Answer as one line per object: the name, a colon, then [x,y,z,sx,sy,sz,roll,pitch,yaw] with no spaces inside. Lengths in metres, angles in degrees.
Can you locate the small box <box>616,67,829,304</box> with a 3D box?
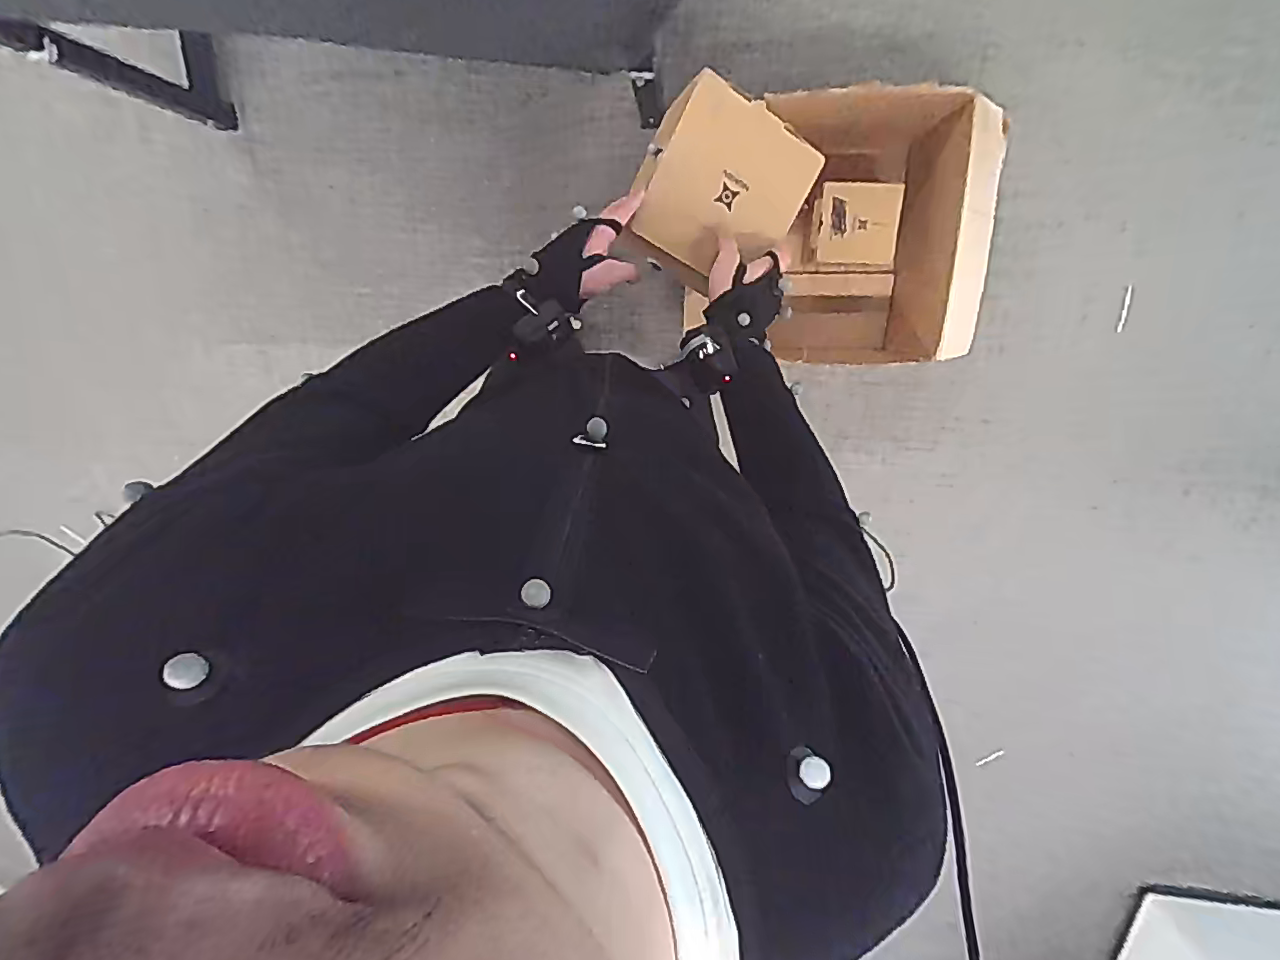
small box: [0.083,-0.334,0.652,0.168,0.176,0.179,23,105,-18]
